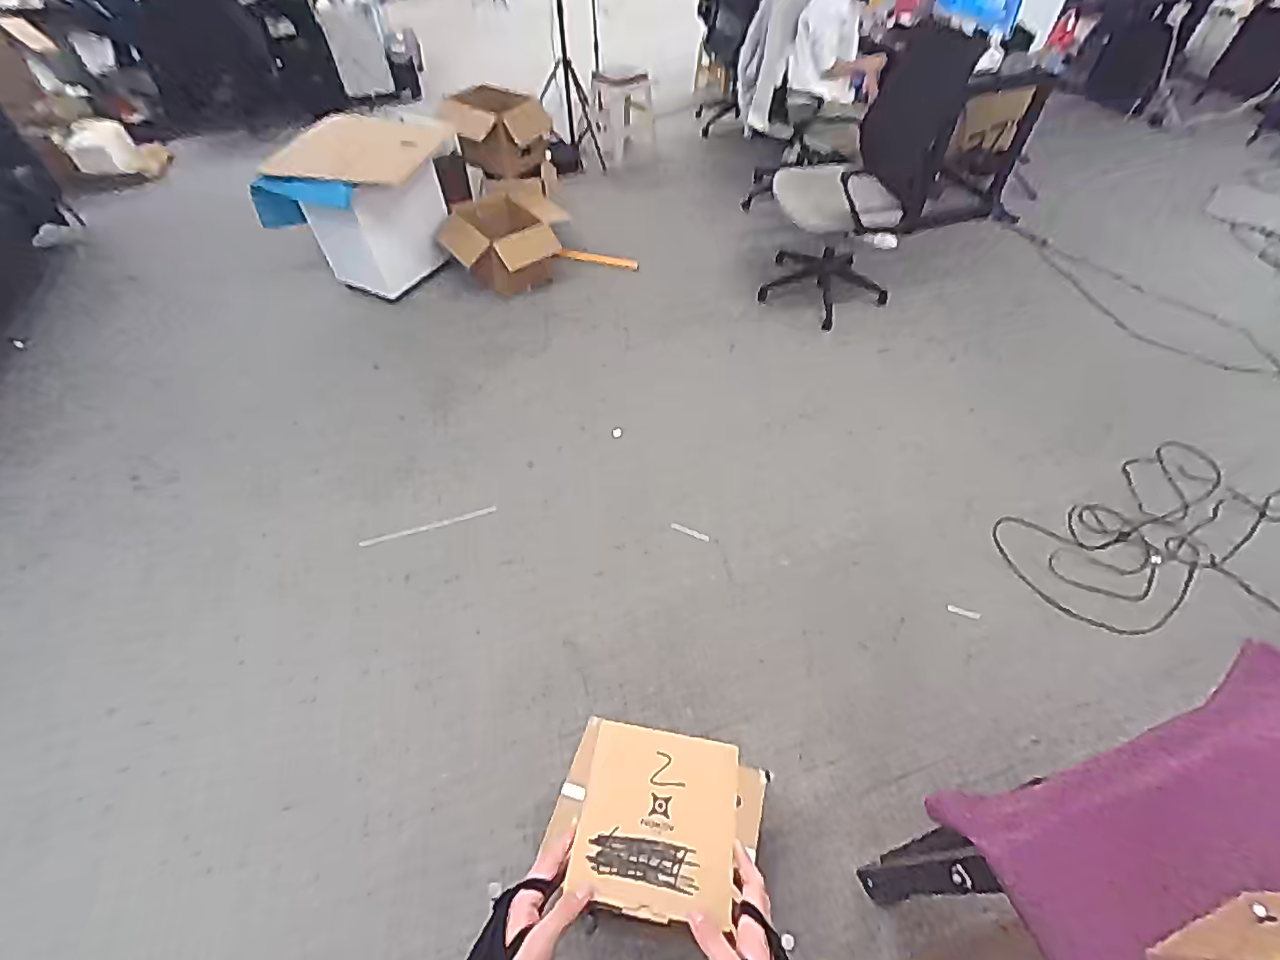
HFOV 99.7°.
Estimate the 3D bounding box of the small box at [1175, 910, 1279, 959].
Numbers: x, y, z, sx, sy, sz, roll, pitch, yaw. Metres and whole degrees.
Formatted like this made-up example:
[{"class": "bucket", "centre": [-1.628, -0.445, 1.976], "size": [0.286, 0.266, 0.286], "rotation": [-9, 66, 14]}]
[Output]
[{"class": "small box", "centre": [0.697, 0.550, 0.528], "size": [0.179, 0.176, 0.168], "rotation": [-15, 53, -12]}]
